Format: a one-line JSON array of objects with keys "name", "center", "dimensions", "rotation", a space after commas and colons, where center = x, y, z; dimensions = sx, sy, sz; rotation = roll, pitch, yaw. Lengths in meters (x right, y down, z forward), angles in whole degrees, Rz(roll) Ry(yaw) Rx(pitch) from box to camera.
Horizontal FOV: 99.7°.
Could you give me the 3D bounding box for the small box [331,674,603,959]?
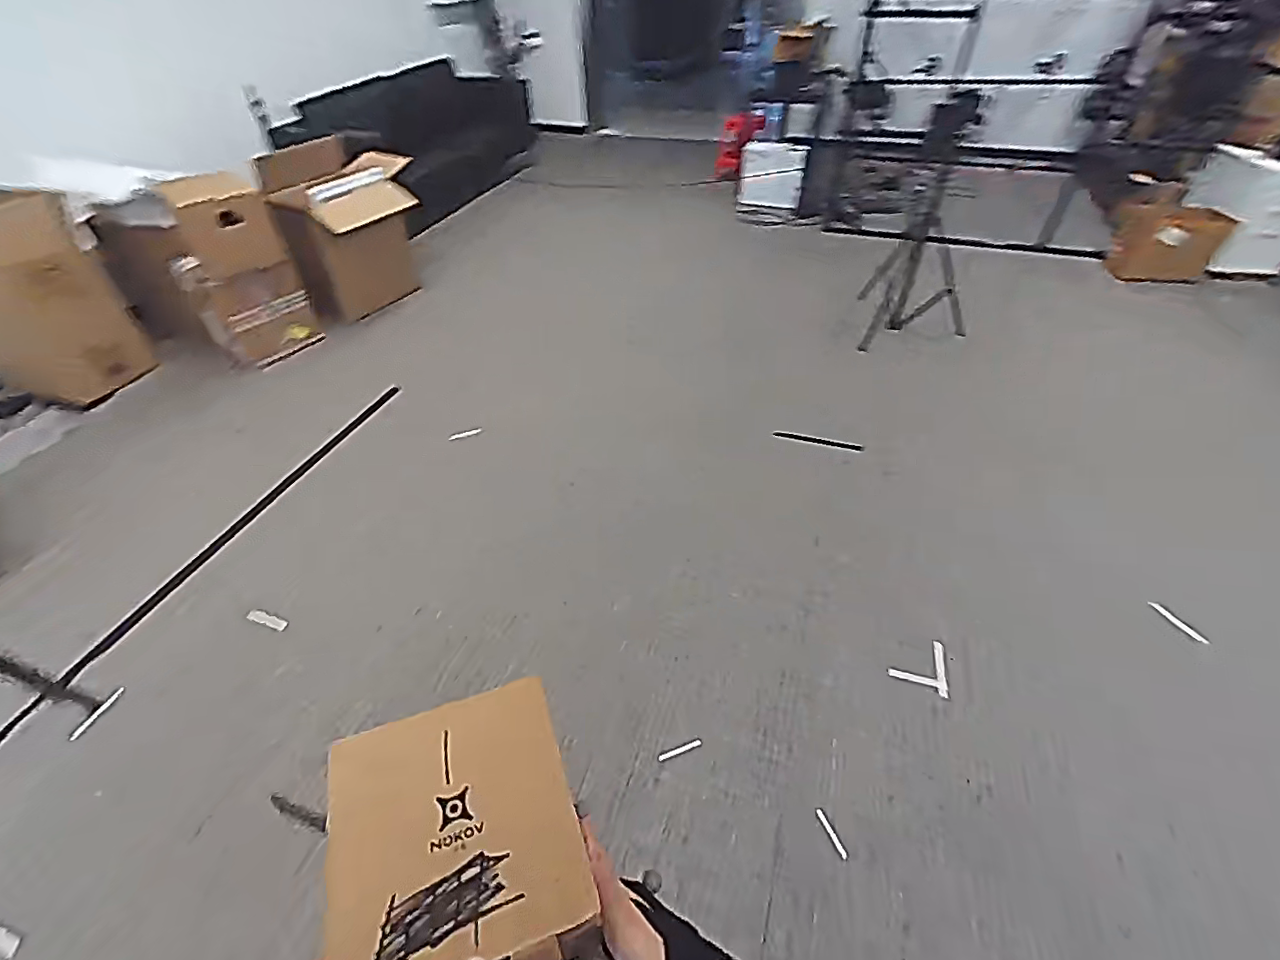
[{"name": "small box", "center": [-0.130, 0.295, 0.438], "dimensions": [0.168, 0.176, 0.179], "rotation": [-13, 46, -16]}]
